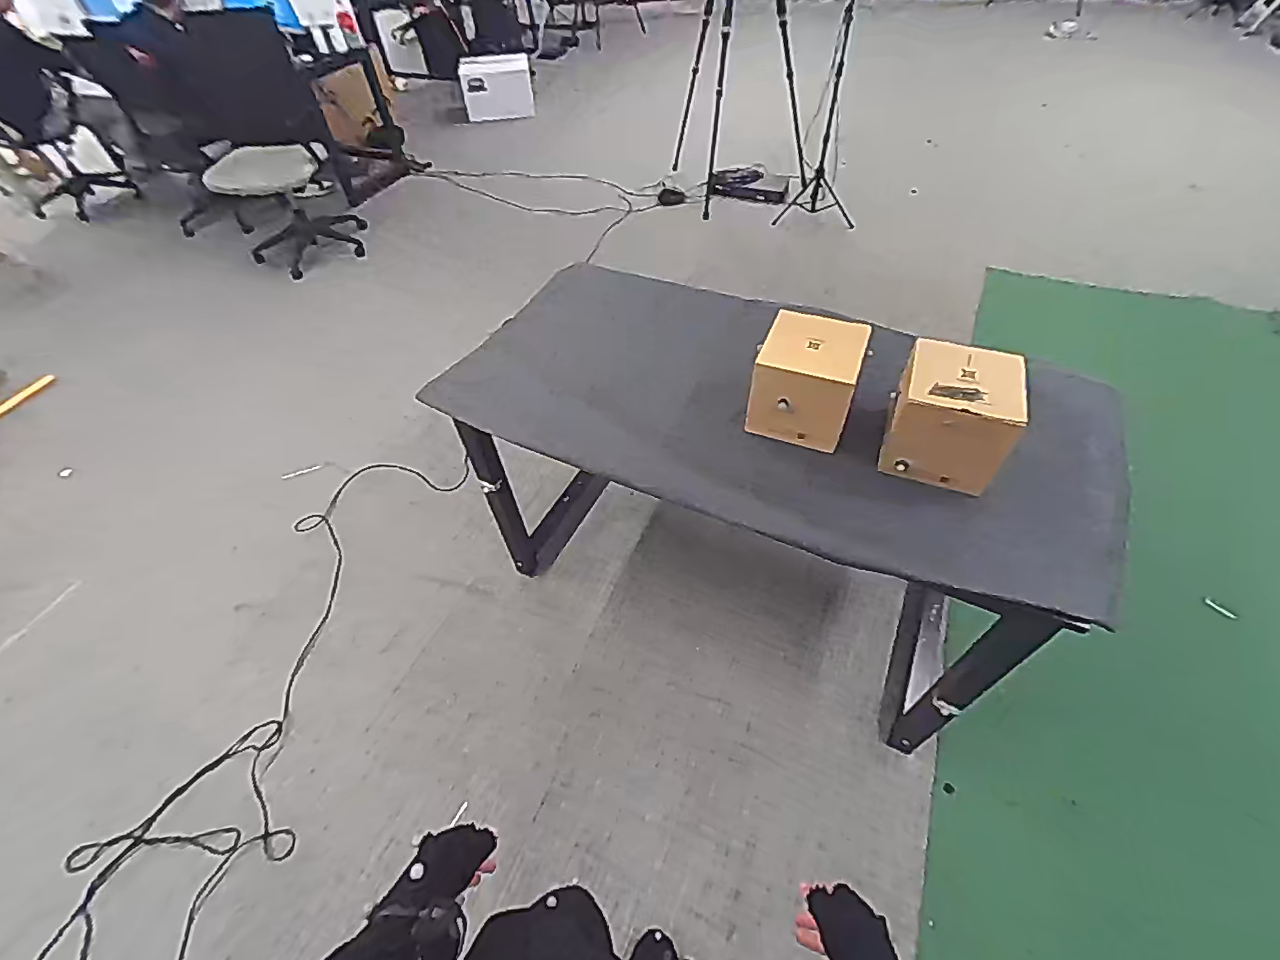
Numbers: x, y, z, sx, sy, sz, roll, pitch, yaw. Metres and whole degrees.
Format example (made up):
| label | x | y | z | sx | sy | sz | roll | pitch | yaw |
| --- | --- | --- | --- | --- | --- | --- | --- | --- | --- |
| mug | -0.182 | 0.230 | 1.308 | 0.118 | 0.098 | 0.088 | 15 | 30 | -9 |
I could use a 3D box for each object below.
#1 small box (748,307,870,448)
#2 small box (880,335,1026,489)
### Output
| label | x | y | z | sx | sy | sz | roll | pitch | yaw |
| --- | --- | --- | --- | --- | --- | --- | --- | --- | --- |
| small box | 0.301 | -0.184 | 0.984 | 0.168 | 0.176 | 0.179 | 17 | 52 | 17 |
| small box | 0.517 | -0.112 | 0.907 | 0.168 | 0.176 | 0.179 | 17 | 52 | 17 |
